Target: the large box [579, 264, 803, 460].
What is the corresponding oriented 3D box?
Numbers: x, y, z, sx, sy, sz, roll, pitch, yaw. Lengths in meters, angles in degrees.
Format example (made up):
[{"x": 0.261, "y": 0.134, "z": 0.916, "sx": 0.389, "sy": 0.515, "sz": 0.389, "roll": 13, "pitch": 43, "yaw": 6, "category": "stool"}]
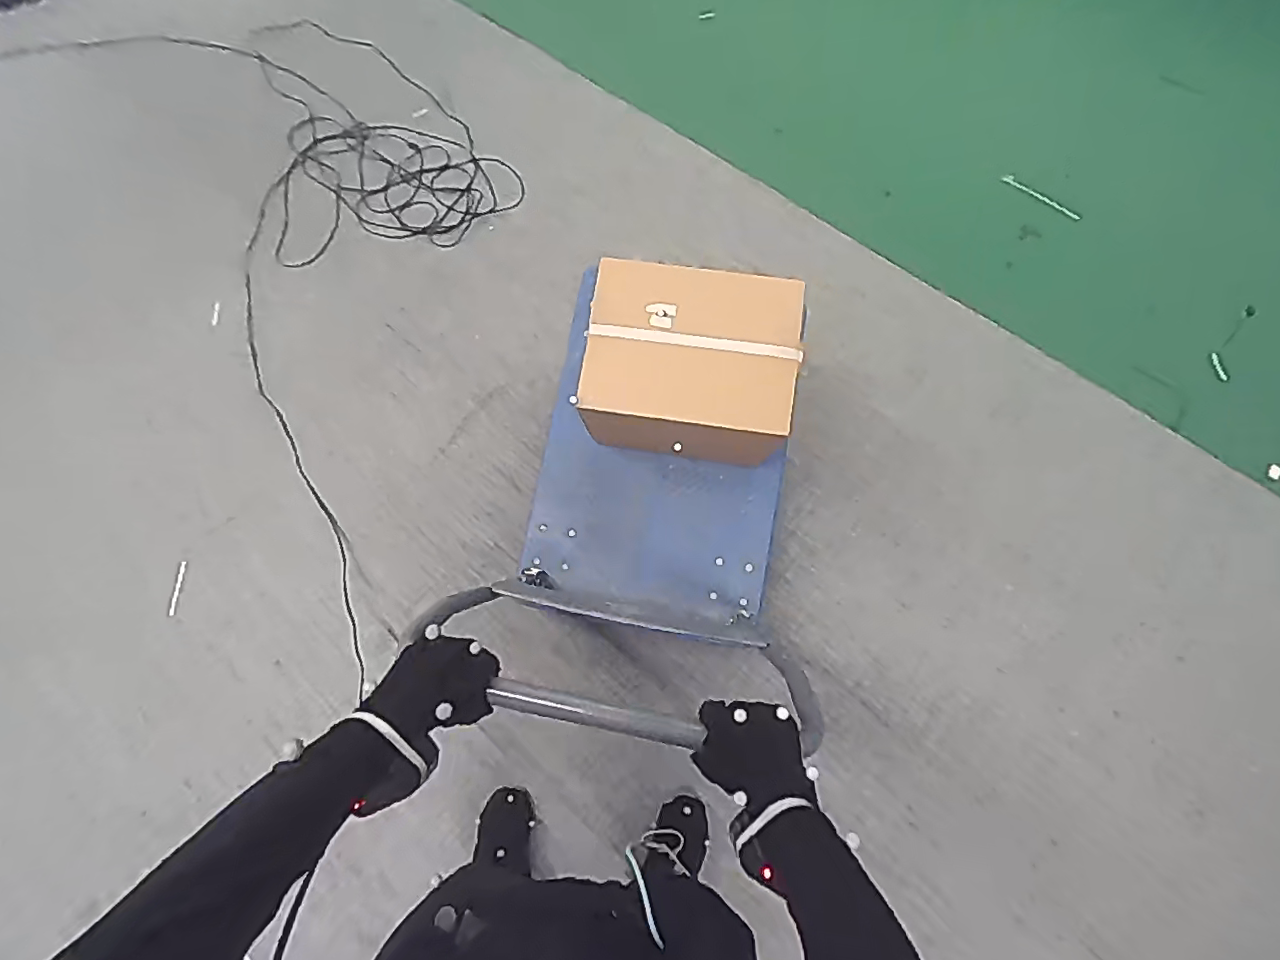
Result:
[{"x": 0.109, "y": -0.234, "z": 1.173, "sx": 0.408, "sy": 0.320, "sz": 0.320, "roll": 7, "pitch": 81, "yaw": 5, "category": "large box"}]
